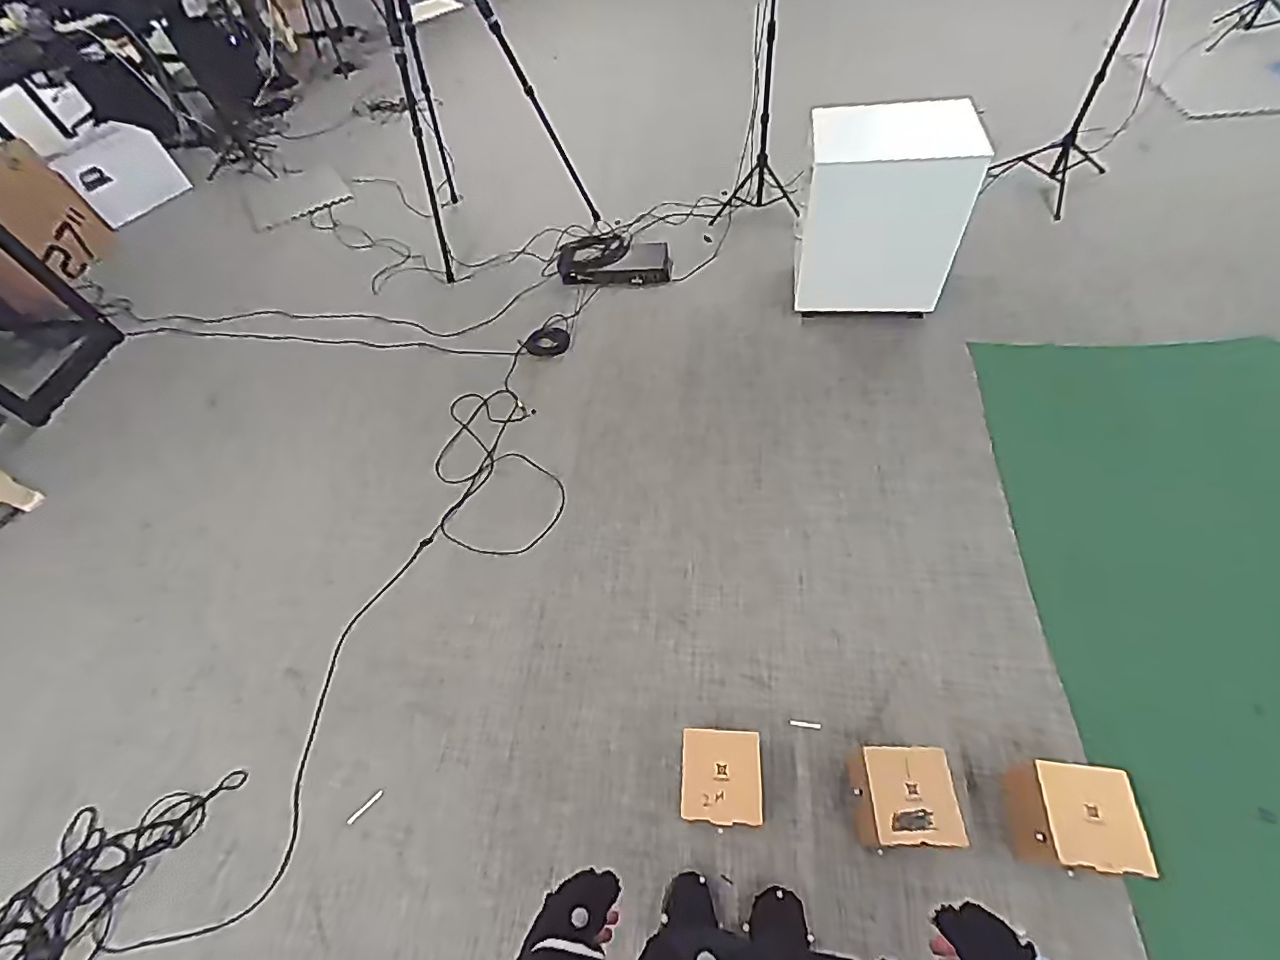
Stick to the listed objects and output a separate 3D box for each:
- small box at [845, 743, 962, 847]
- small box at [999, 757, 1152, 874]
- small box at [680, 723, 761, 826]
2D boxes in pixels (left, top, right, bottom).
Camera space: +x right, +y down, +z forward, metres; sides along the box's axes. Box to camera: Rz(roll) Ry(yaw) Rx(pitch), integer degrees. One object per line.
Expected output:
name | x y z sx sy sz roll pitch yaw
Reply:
small box | 0.550 0.673 1.153 0.168 0.176 0.179 -1 54 6
small box | 0.870 0.687 1.106 0.168 0.176 0.179 3 56 10
small box | 0.179 0.659 1.207 0.168 0.176 0.179 0 56 9
